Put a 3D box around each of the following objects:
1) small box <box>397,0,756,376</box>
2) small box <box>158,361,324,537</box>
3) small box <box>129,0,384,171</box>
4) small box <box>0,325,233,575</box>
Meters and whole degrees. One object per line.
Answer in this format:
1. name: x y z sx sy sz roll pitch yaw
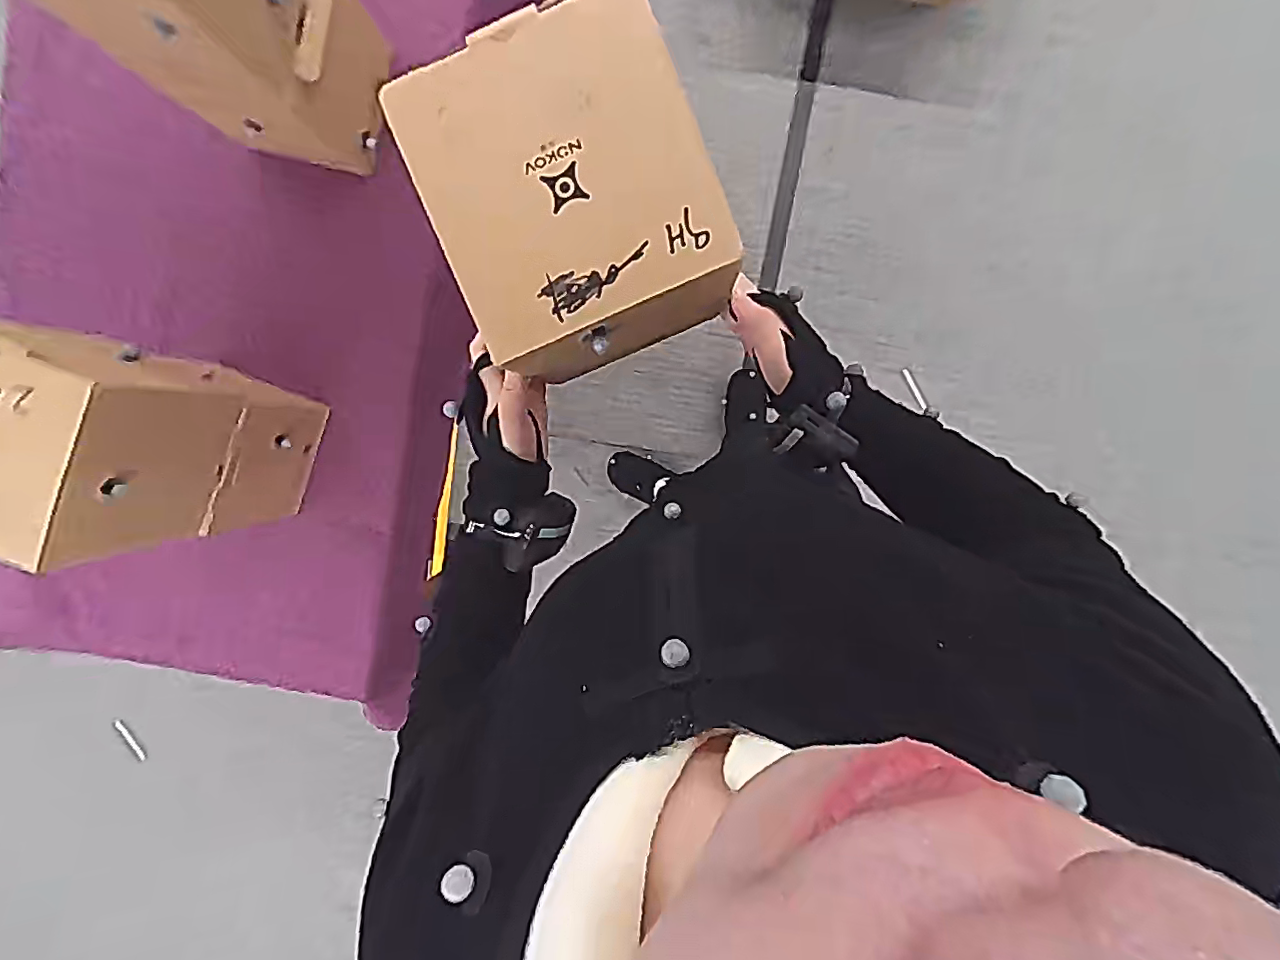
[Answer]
1. small box: -0.033 -0.191 0.392 0.168 0.176 0.179 -21 94 5
2. small box: -0.547 -0.048 0.689 0.179 0.176 0.168 21 95 -1
3. small box: -0.432 -0.495 0.636 0.179 0.176 0.168 13 96 1
4. small box: -0.549 -0.036 0.525 0.168 0.176 0.179 22 95 -2
